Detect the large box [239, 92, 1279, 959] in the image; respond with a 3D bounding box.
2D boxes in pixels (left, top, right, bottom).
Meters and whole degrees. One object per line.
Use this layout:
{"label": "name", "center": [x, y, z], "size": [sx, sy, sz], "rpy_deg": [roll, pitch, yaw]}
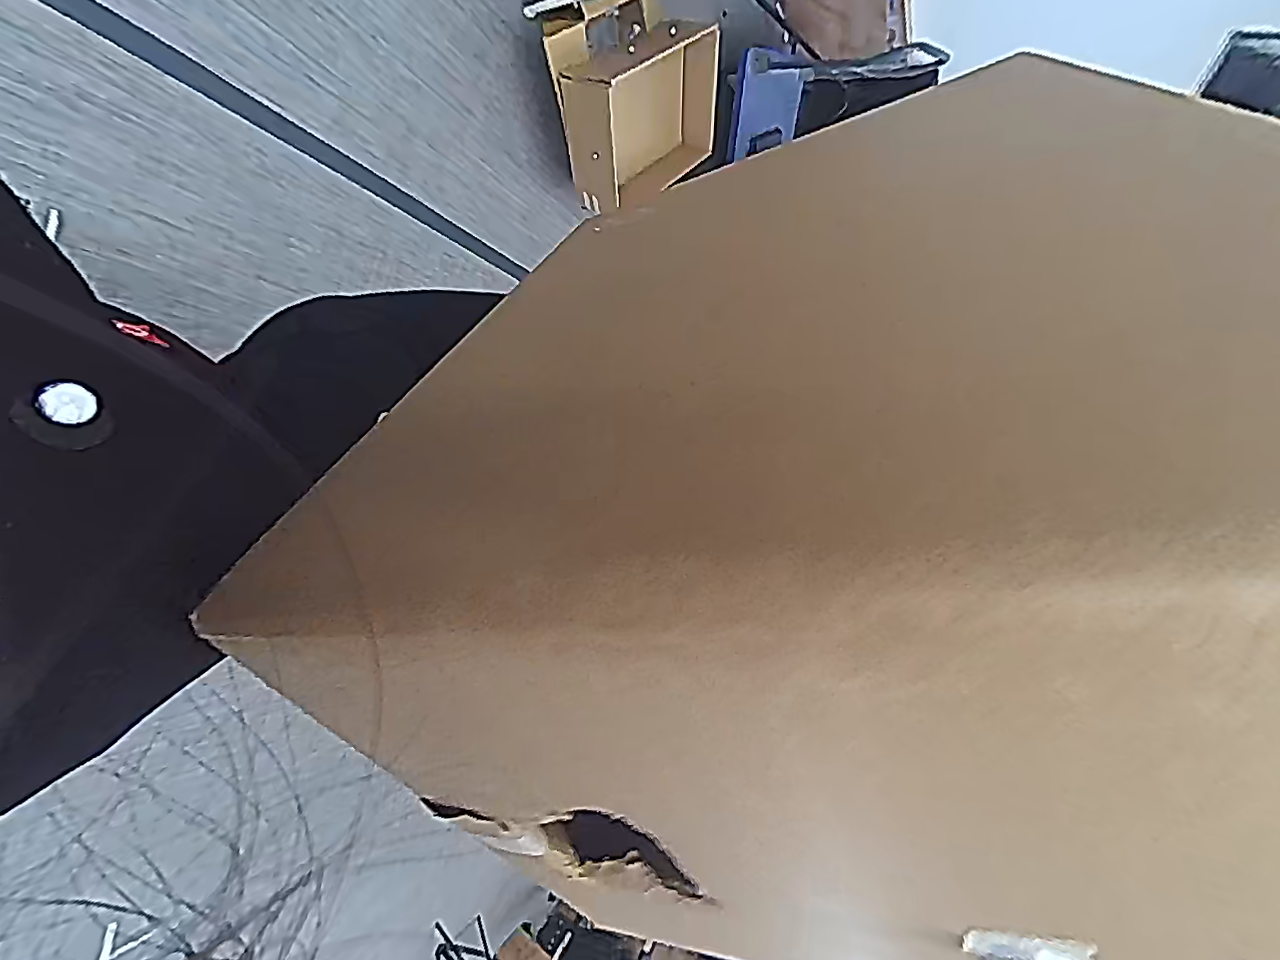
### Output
{"label": "large box", "center": [0.101, 0.009, 0.341], "size": [0.408, 0.320, 0.320], "rpy_deg": [-70, 145, -47]}
